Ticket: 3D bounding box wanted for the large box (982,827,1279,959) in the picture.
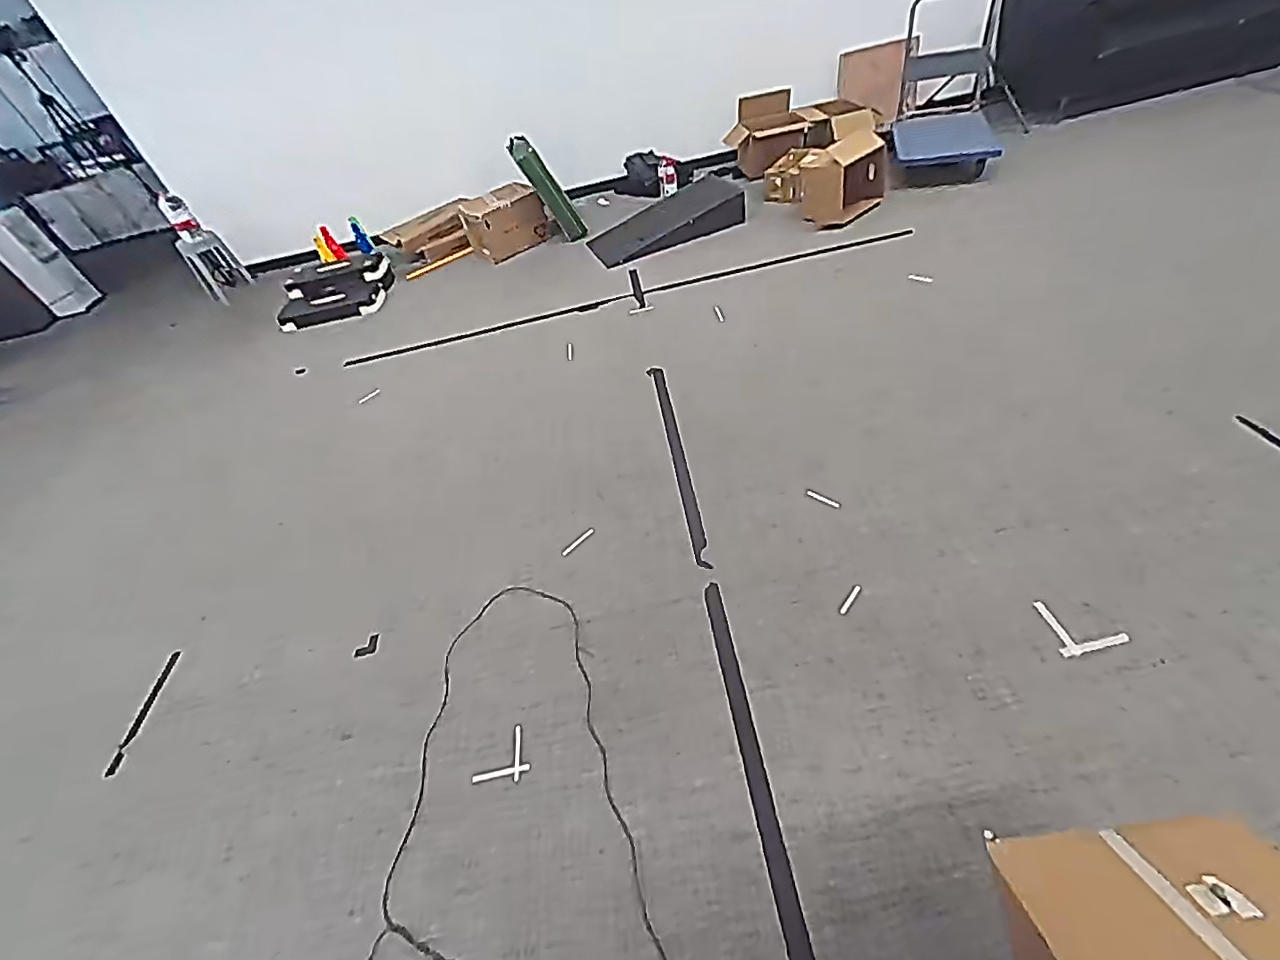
[{"bbox_3d":[0.644,0.653,0.564,0.320,0.408,0.320,-12,87,10],"label":"large box"}]
